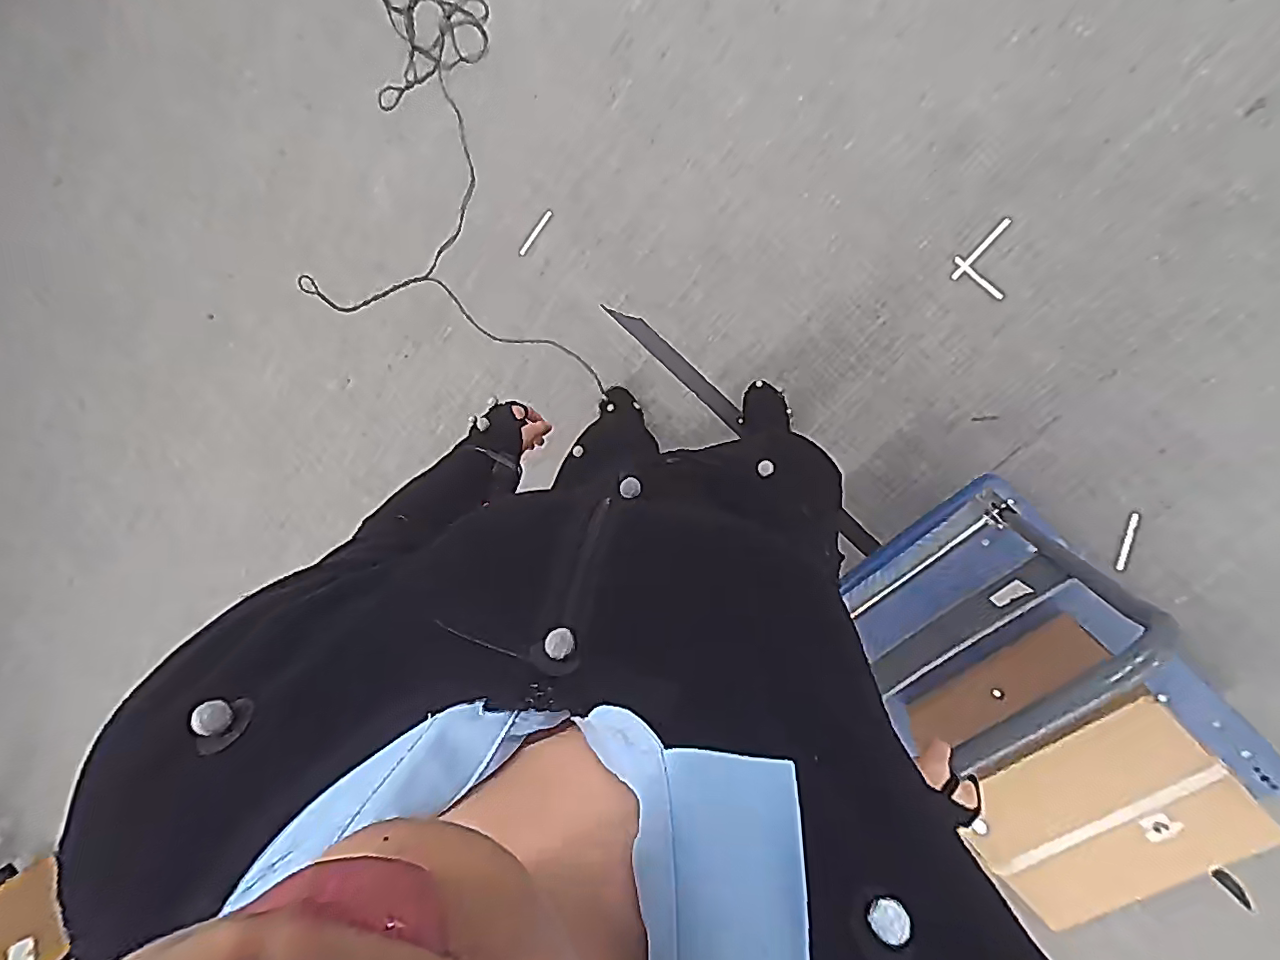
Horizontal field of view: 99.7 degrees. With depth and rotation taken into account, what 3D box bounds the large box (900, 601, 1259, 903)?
[{"bbox_3d":[0.821,0.525,1.097,0.408,0.320,0.320,-44,88,18],"label":"large box"}]
